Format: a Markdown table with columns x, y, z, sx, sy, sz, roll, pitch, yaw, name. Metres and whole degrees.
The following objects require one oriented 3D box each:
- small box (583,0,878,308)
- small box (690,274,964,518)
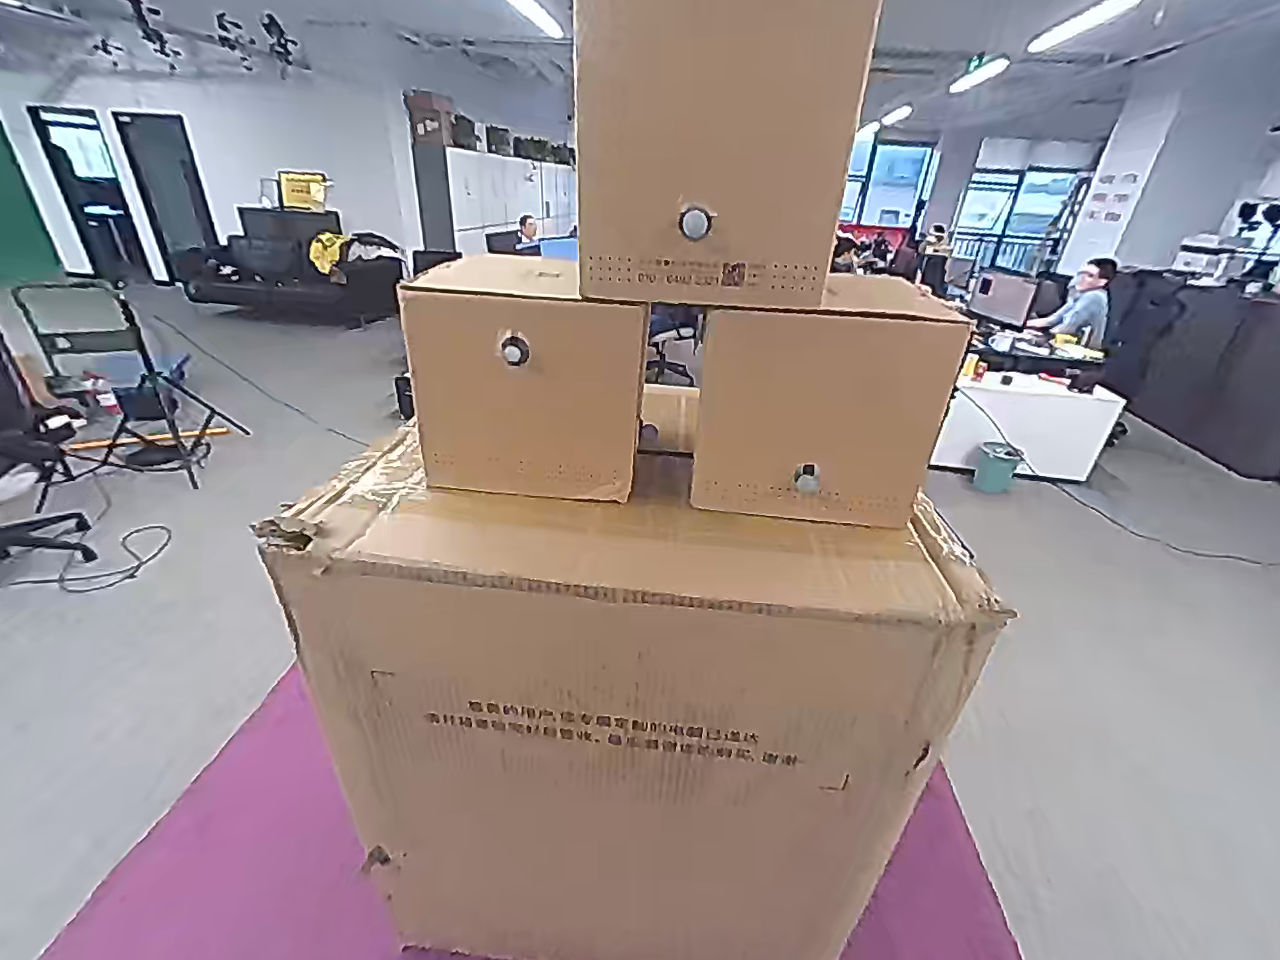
| x | y | z | sx | sy | sz | roll | pitch | yaw | name |
| --- | --- | --- | --- | --- | --- | --- | --- | --- | --- |
| 0.053 | -0.235 | 0.405 | 0.168 | 0.176 | 0.179 | 4 | 30 | 4 | small box |
| 0.141 | -0.081 | 0.477 | 0.179 | 0.176 | 0.168 | 4 | 29 | 6 | small box |
